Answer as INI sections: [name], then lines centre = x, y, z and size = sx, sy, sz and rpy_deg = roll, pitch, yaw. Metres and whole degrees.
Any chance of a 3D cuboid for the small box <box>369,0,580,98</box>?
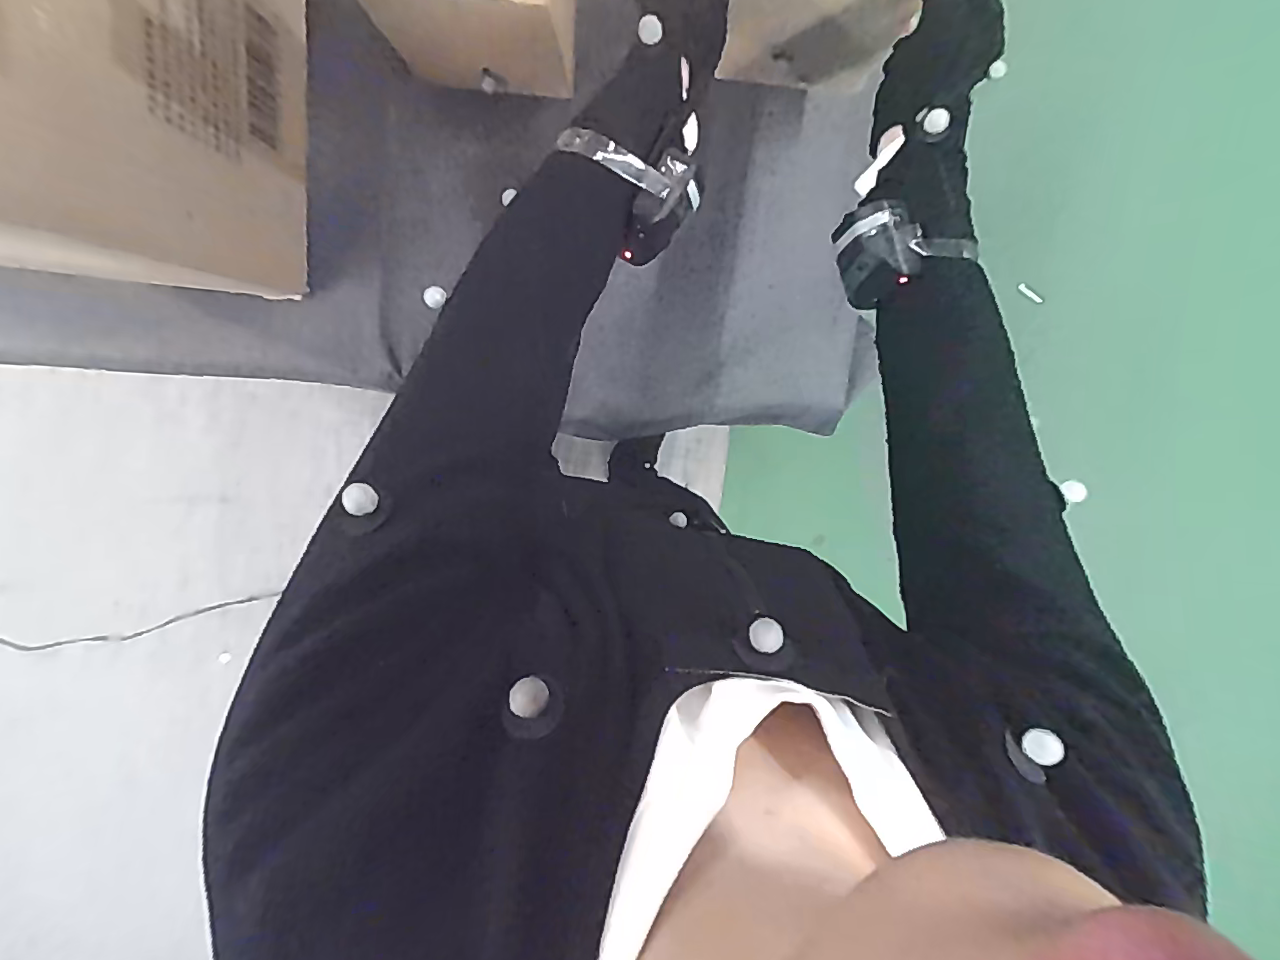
[small box]
centre = -0.151, -0.510, 0.531
size = 0.179, 0.176, 0.168
rpy_deg = 5, 100, -1
